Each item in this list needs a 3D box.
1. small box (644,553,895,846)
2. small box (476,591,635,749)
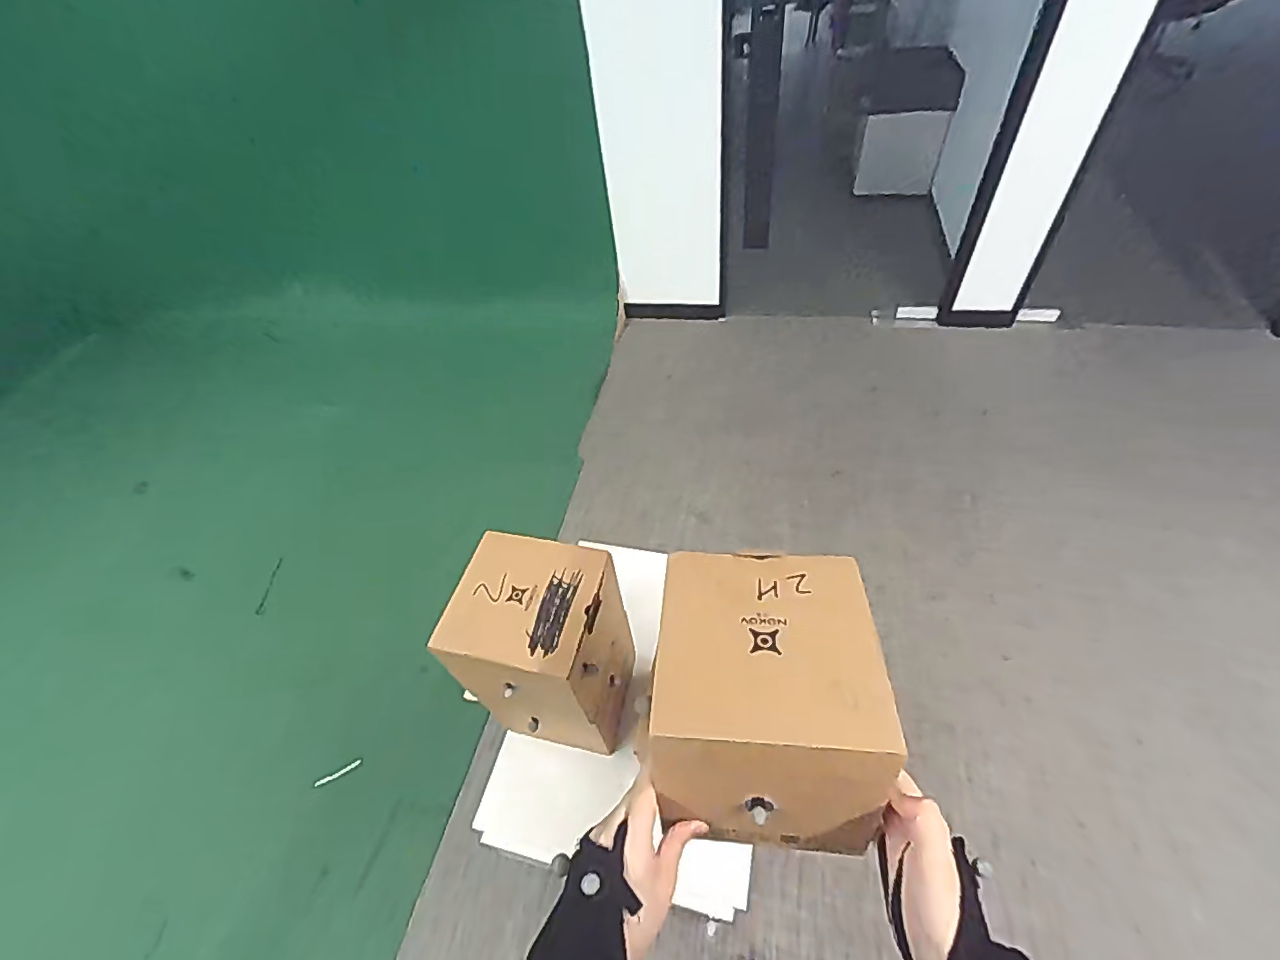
[{"bbox_3d":[0.100,0.184,0.465,0.168,0.176,0.179,1,37,8],"label":"small box"},{"bbox_3d":[-0.115,0.294,0.829,0.179,0.176,0.168,7,52,13],"label":"small box"}]
